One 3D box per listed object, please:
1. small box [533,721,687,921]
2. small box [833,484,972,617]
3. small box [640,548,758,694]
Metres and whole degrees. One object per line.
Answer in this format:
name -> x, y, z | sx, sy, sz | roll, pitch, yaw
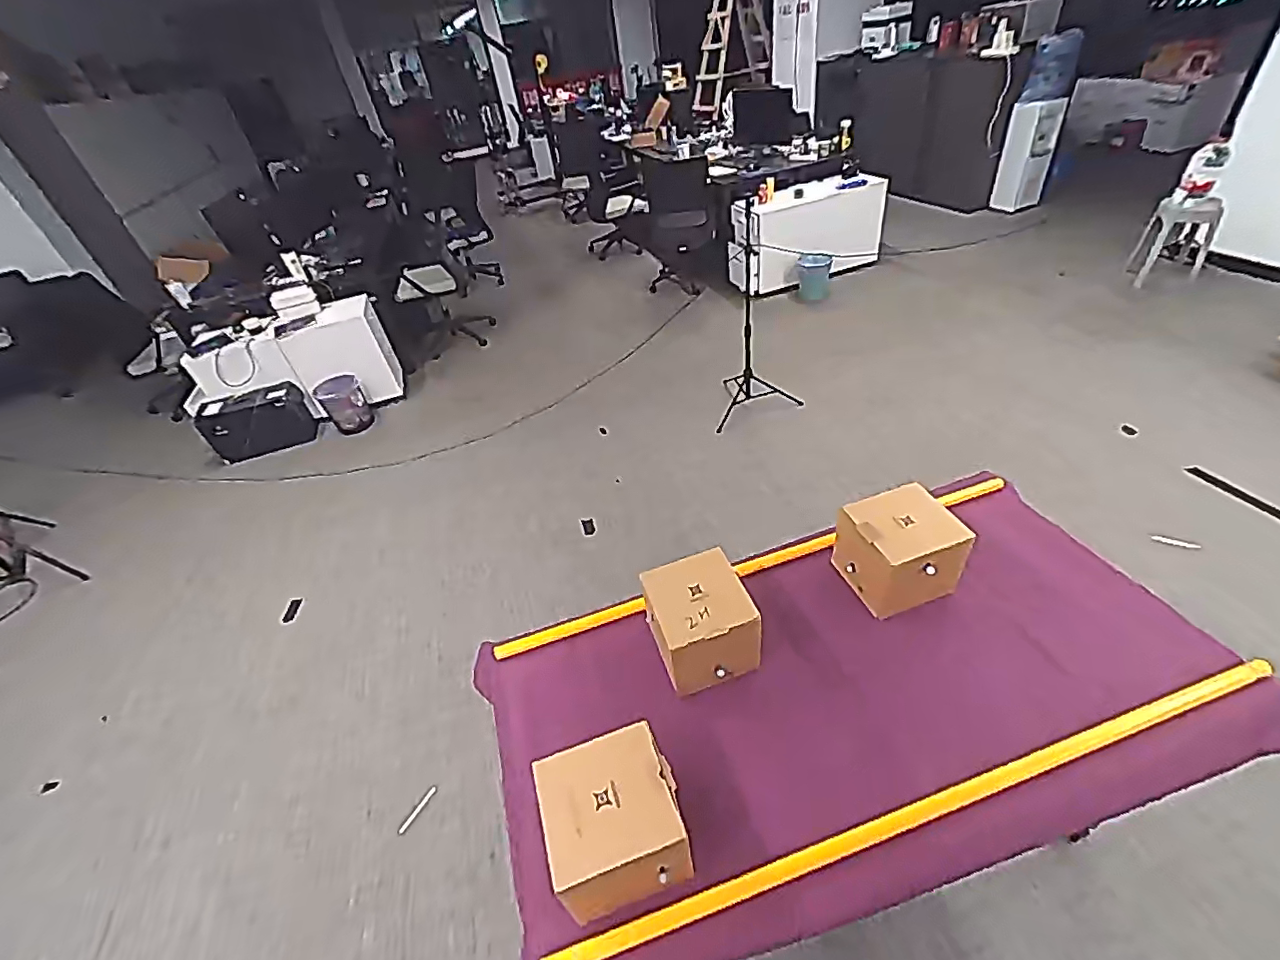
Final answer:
small box -> -0.040, 0.487, 0.777 | 0.179, 0.176, 0.168 | -16, 39, -10
small box -> 0.508, 0.140, 1.076 | 0.179, 0.176, 0.168 | -18, 41, -8
small box -> 0.108, 0.264, 1.013 | 0.168, 0.176, 0.179 | -17, 42, -8
